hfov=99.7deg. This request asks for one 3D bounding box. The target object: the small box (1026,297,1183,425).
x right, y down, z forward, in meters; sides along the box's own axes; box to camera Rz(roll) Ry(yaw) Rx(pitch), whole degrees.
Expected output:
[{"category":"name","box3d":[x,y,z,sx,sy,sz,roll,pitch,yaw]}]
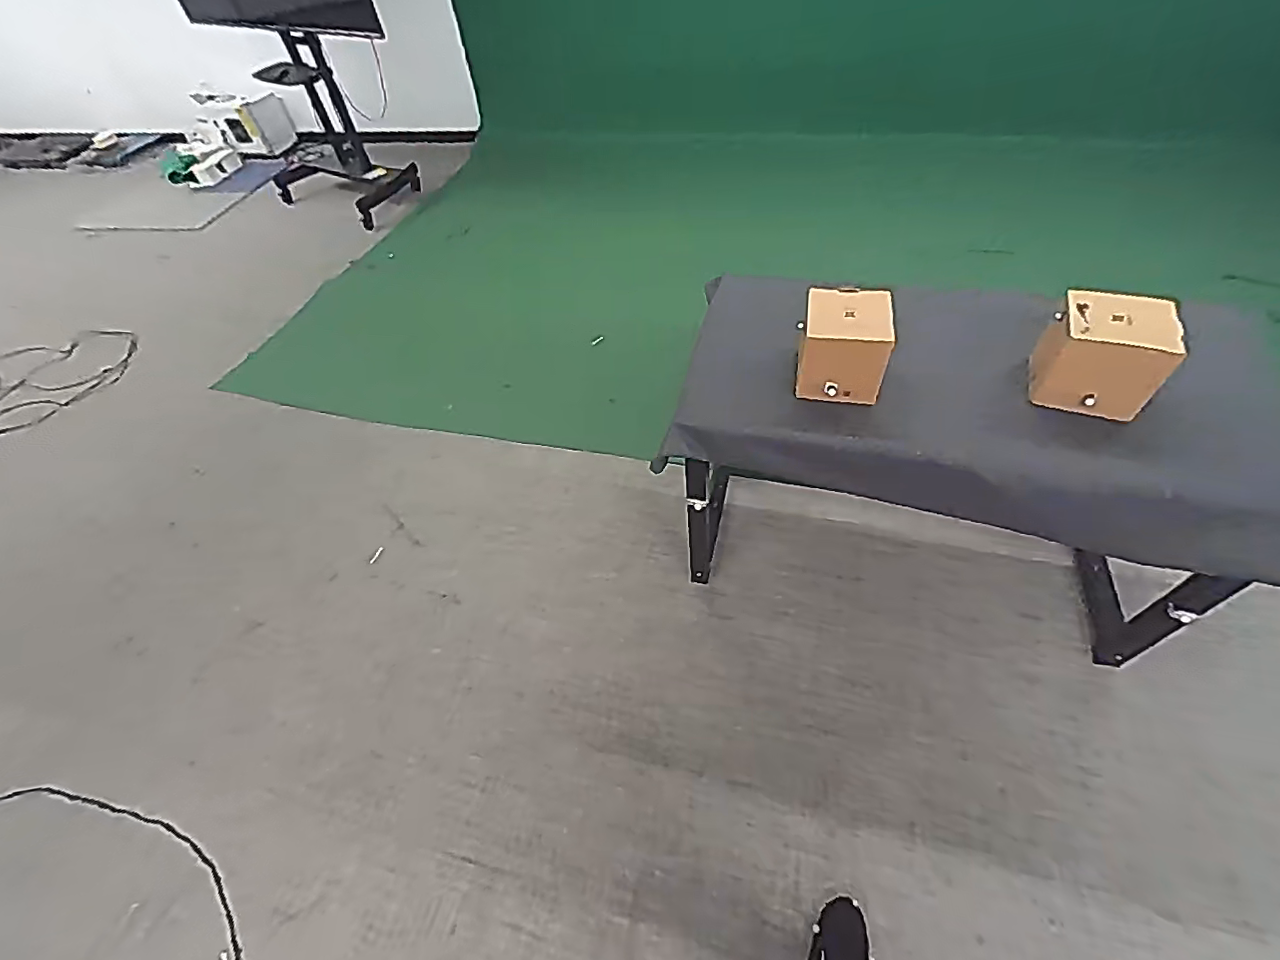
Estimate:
[{"category":"small box","box3d":[0.905,-0.232,1.070,0.179,0.176,0.168,17,54,19]}]

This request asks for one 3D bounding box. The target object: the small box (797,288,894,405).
[{"category":"small box","box3d":[0.431,-0.284,1.147,0.168,0.176,0.179,7,52,15]}]
